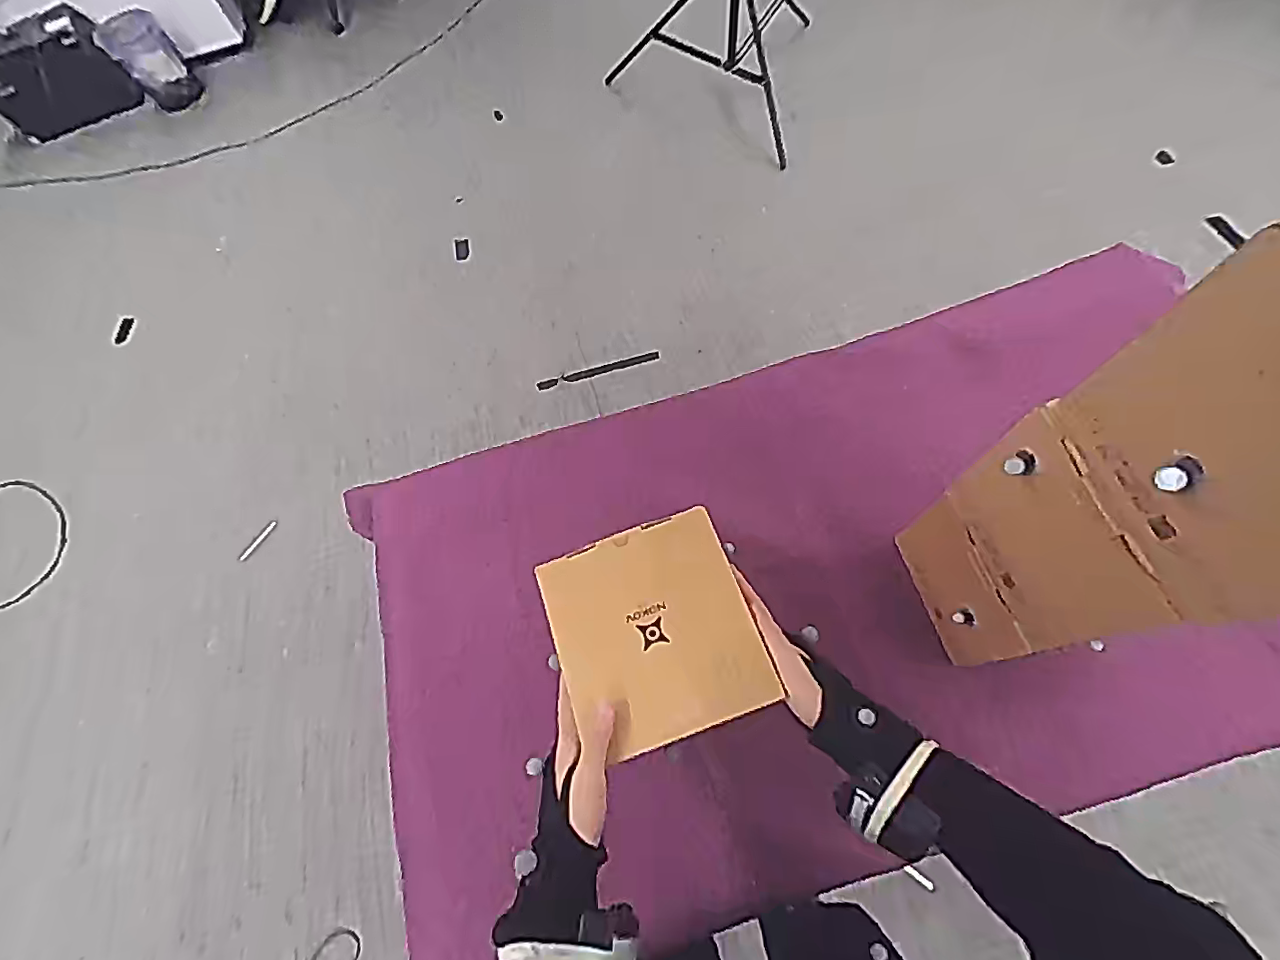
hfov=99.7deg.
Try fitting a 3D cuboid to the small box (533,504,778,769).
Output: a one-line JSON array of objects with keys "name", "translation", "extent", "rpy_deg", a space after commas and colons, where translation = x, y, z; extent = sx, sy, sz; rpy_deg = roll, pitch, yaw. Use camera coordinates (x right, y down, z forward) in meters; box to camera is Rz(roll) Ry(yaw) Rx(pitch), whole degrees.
[{"name": "small box", "translation": [0.017, 0.152, 0.522], "extent": [0.168, 0.176, 0.179], "rpy_deg": [-21, 64, -1]}]

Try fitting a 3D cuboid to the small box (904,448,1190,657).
[{"name": "small box", "translation": [0.417, 0.087, 0.591], "extent": [0.179, 0.176, 0.168], "rpy_deg": [-15, 67, -1]}]

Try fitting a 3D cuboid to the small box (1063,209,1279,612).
[{"name": "small box", "translation": [0.393, -0.041, 0.288], "extent": [0.179, 0.176, 0.168], "rpy_deg": [-16, 66, 0]}]
